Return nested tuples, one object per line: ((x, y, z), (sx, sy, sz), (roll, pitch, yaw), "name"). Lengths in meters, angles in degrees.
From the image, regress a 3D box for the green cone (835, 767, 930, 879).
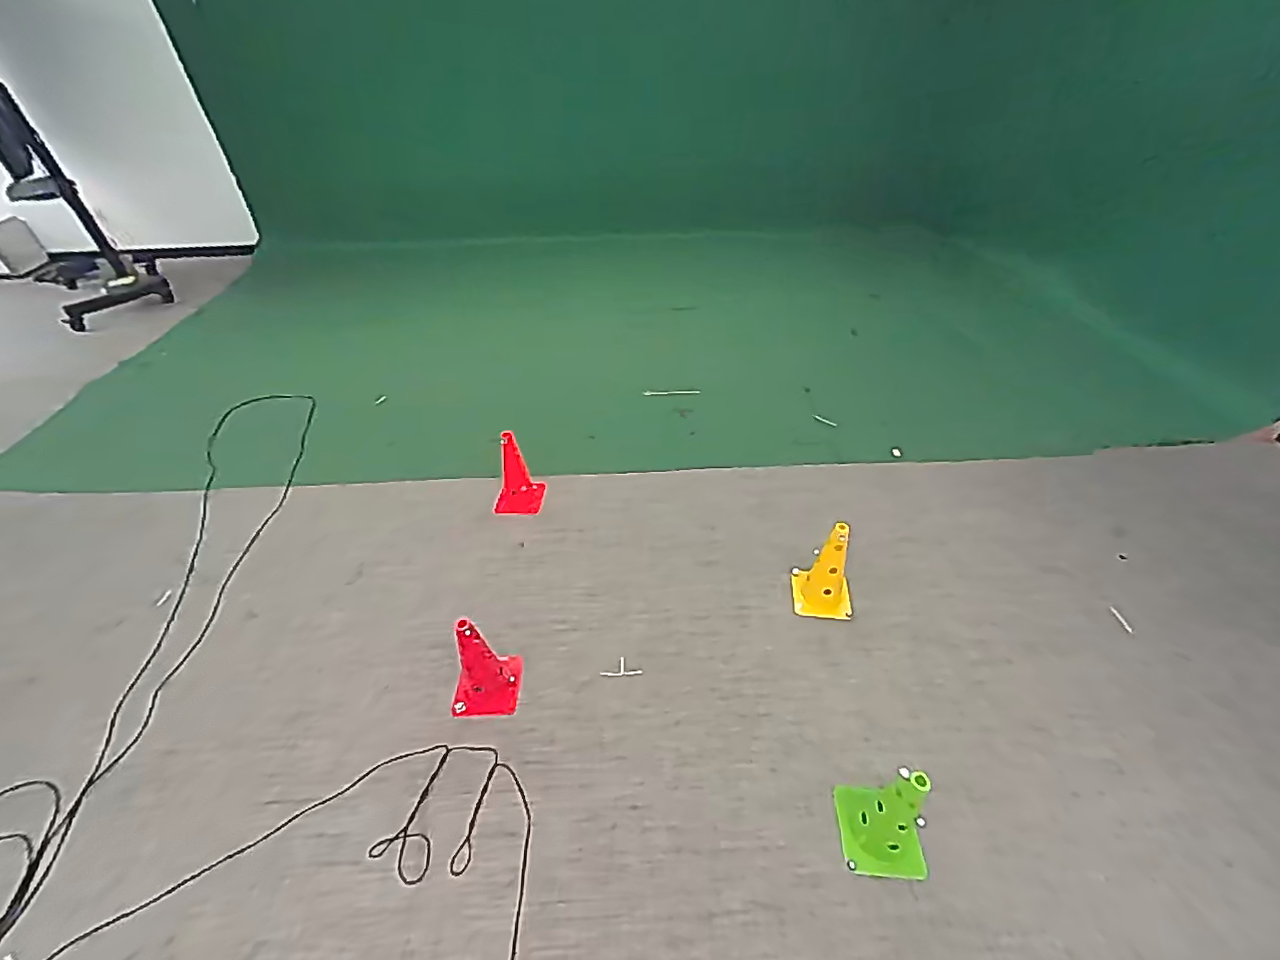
((0.628, 0.793, 1.306), (0.200, 0.368, 0.202), (2, 41, 3), "green cone")

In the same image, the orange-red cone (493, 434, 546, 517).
((-0.535, -0.038, 2.267), (0.199, 0.360, 0.198), (2, 41, 6), "orange-red cone")
